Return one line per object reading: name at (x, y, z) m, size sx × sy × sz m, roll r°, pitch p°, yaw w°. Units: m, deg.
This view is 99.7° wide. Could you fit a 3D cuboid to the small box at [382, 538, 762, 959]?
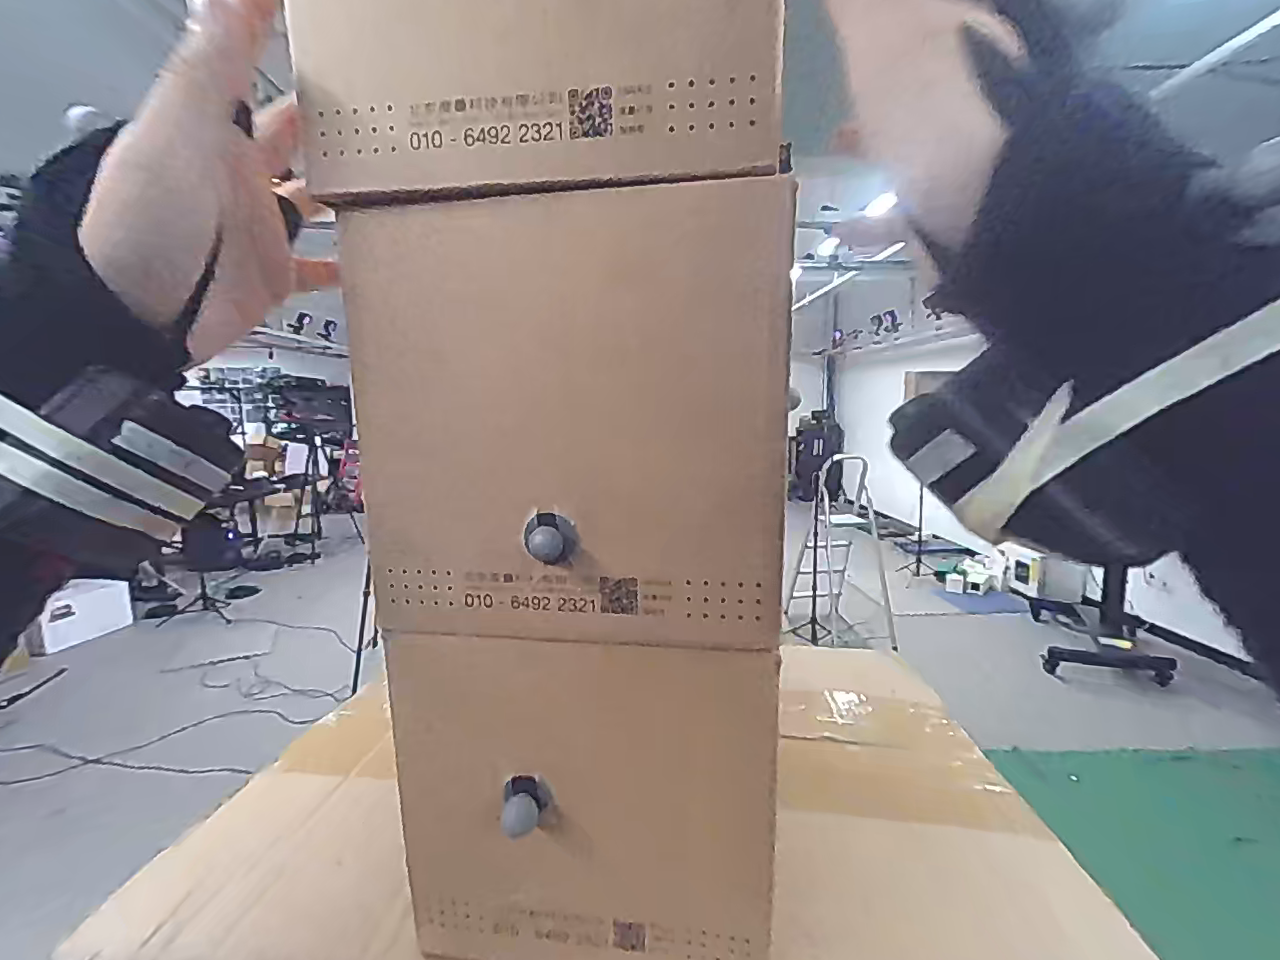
small box at (-0.017, 0.138, 0.315) m, size 0.168 × 0.176 × 0.179 m, roll 1°, pitch 9°, yaw 8°
